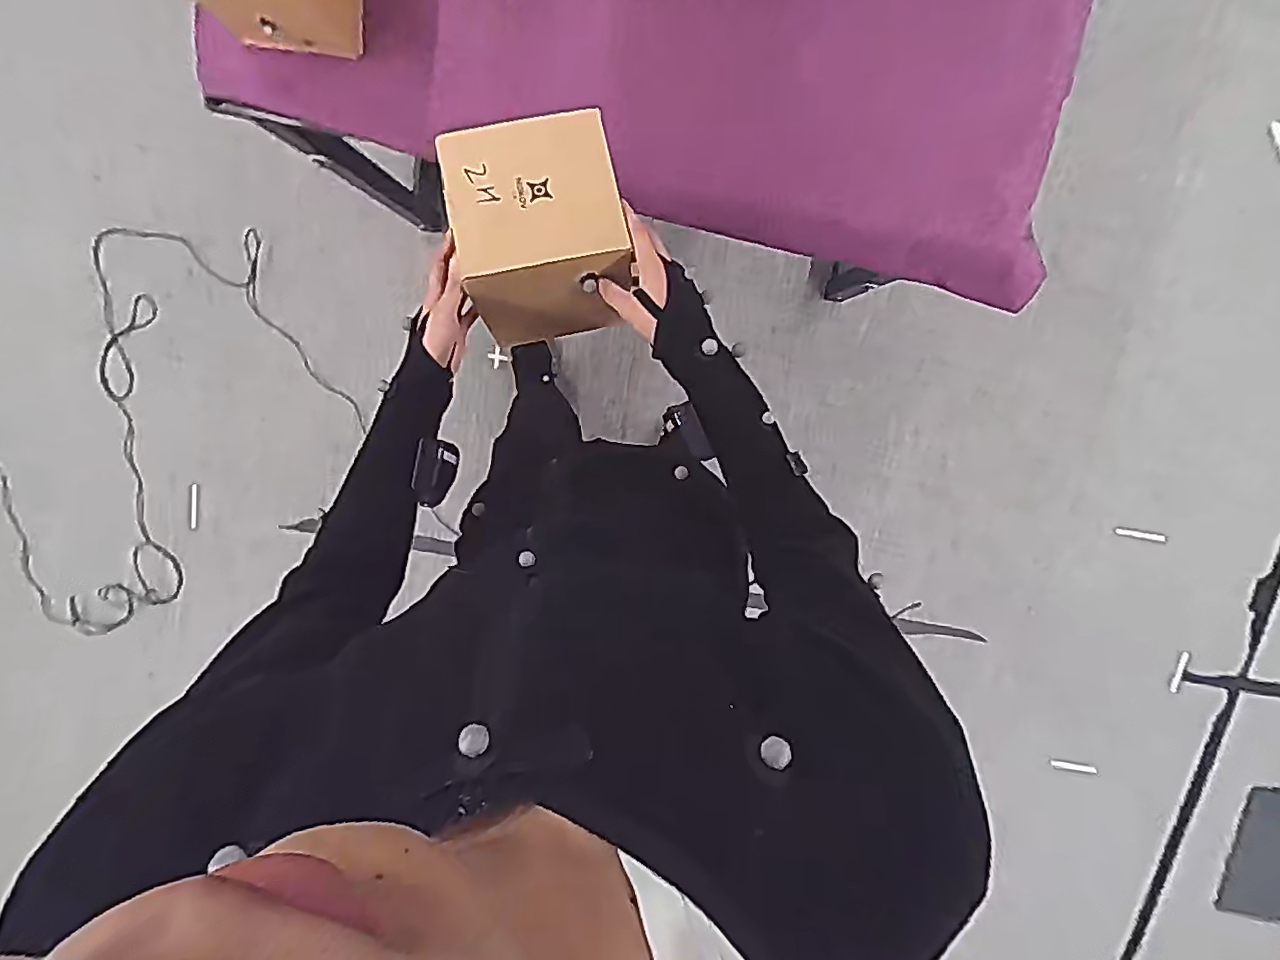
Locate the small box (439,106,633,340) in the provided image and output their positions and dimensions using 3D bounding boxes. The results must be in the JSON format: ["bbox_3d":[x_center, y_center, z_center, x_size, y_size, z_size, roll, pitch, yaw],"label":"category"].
[{"bbox_3d":[-0.108,-0.280,0.621,0.179,0.176,0.168,-11,80,-2],"label":"small box"}]

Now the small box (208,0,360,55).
[{"bbox_3d":[-0.462,-0.674,0.661,0.168,0.176,0.179,5,102,-3],"label":"small box"}]
